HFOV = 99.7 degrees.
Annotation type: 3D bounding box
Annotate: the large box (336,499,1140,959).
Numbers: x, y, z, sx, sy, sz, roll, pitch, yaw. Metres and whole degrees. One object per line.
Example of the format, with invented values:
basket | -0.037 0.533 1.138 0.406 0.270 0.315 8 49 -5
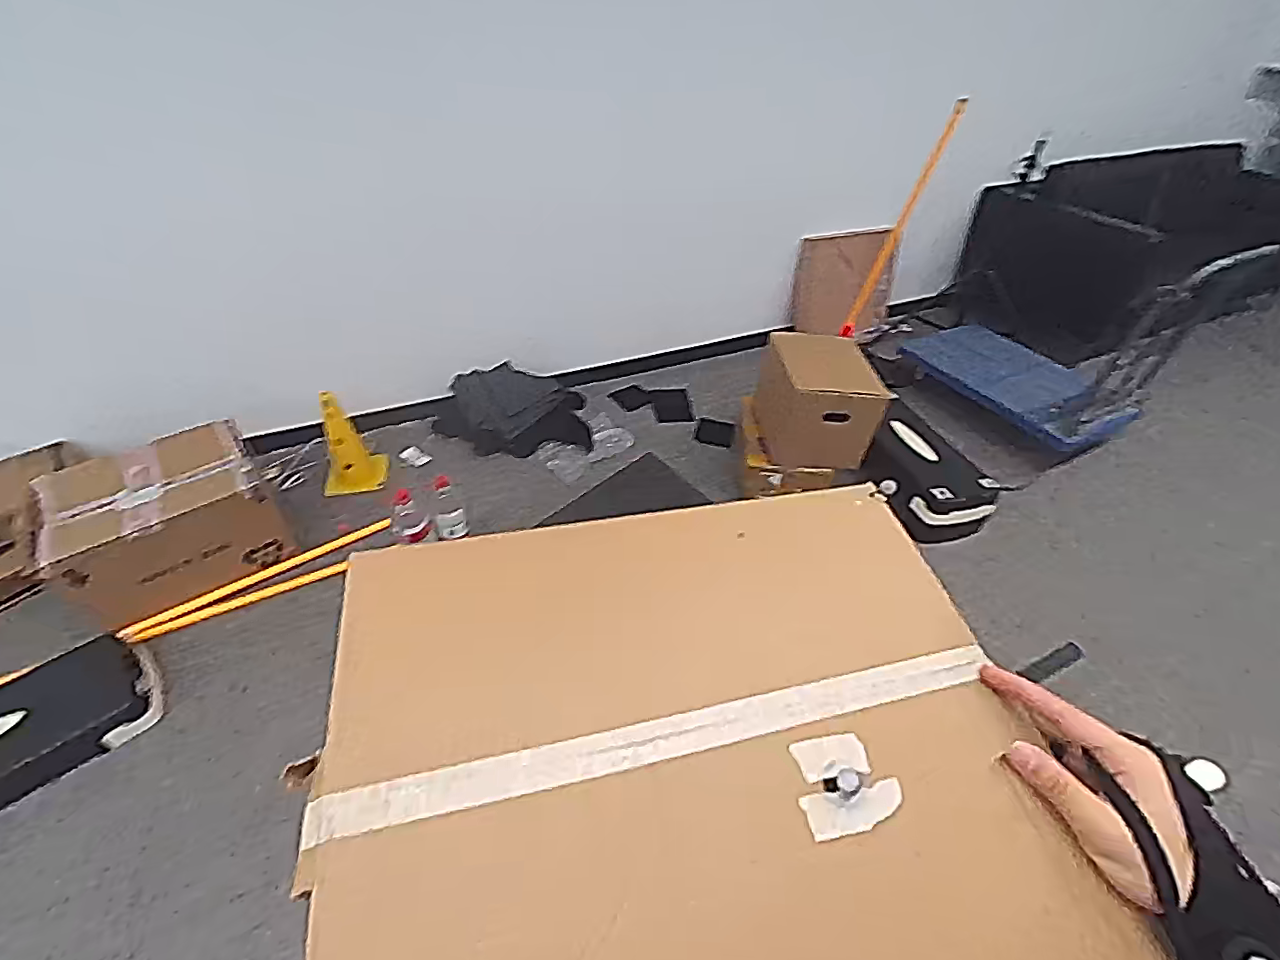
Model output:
large box | 0.021 0.251 0.437 0.408 0.320 0.320 -6 52 -14
